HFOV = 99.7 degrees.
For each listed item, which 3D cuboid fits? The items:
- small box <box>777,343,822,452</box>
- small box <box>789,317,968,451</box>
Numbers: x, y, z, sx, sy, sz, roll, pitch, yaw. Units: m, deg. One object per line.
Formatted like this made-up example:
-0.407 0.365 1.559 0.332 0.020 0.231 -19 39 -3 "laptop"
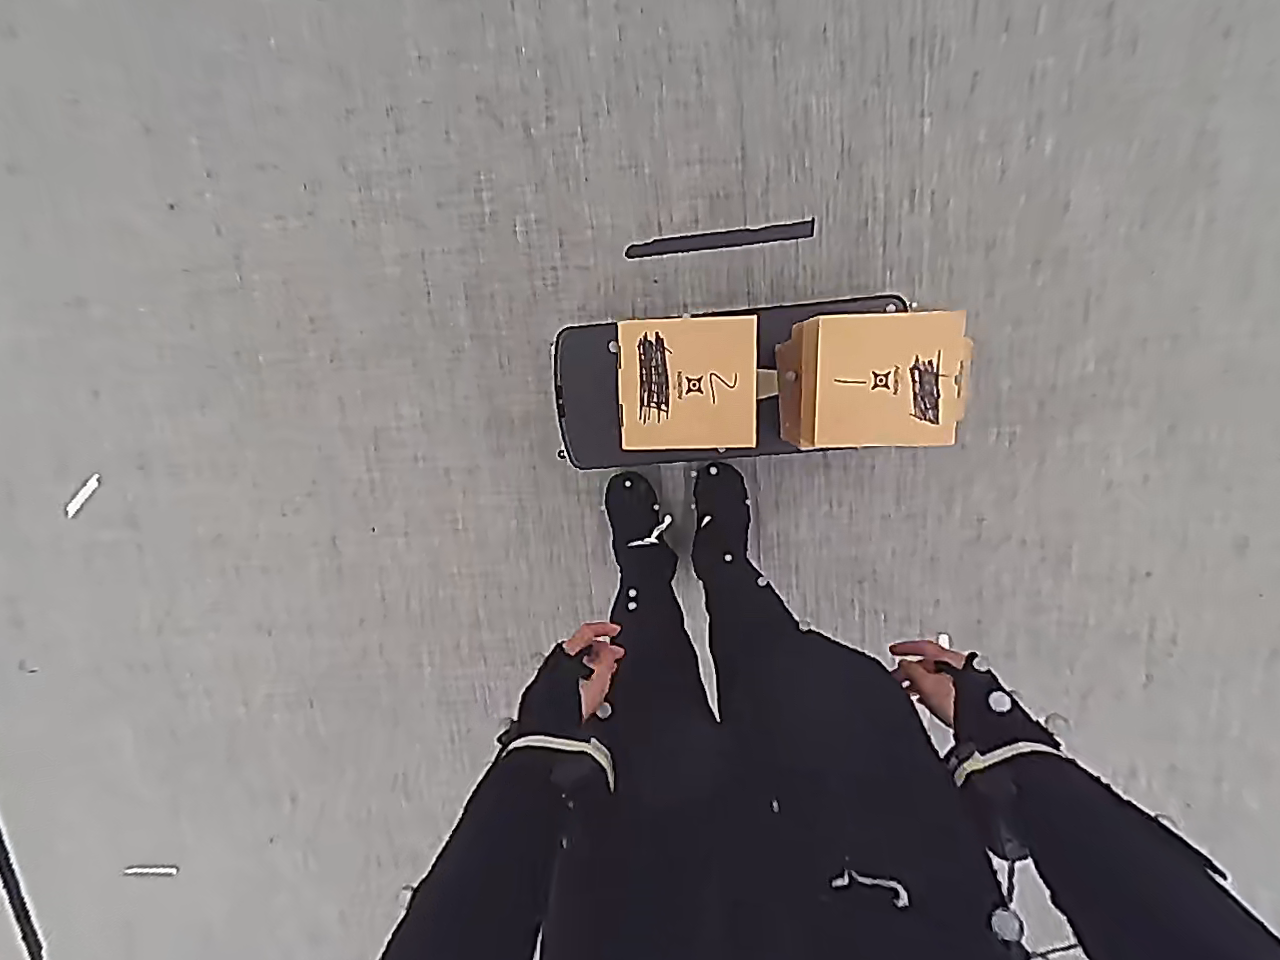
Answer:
0.331 -0.150 0.911 0.168 0.176 0.179 -6 101 5 "small box"
0.314 -0.134 0.748 0.179 0.176 0.168 0 101 5 "small box"
